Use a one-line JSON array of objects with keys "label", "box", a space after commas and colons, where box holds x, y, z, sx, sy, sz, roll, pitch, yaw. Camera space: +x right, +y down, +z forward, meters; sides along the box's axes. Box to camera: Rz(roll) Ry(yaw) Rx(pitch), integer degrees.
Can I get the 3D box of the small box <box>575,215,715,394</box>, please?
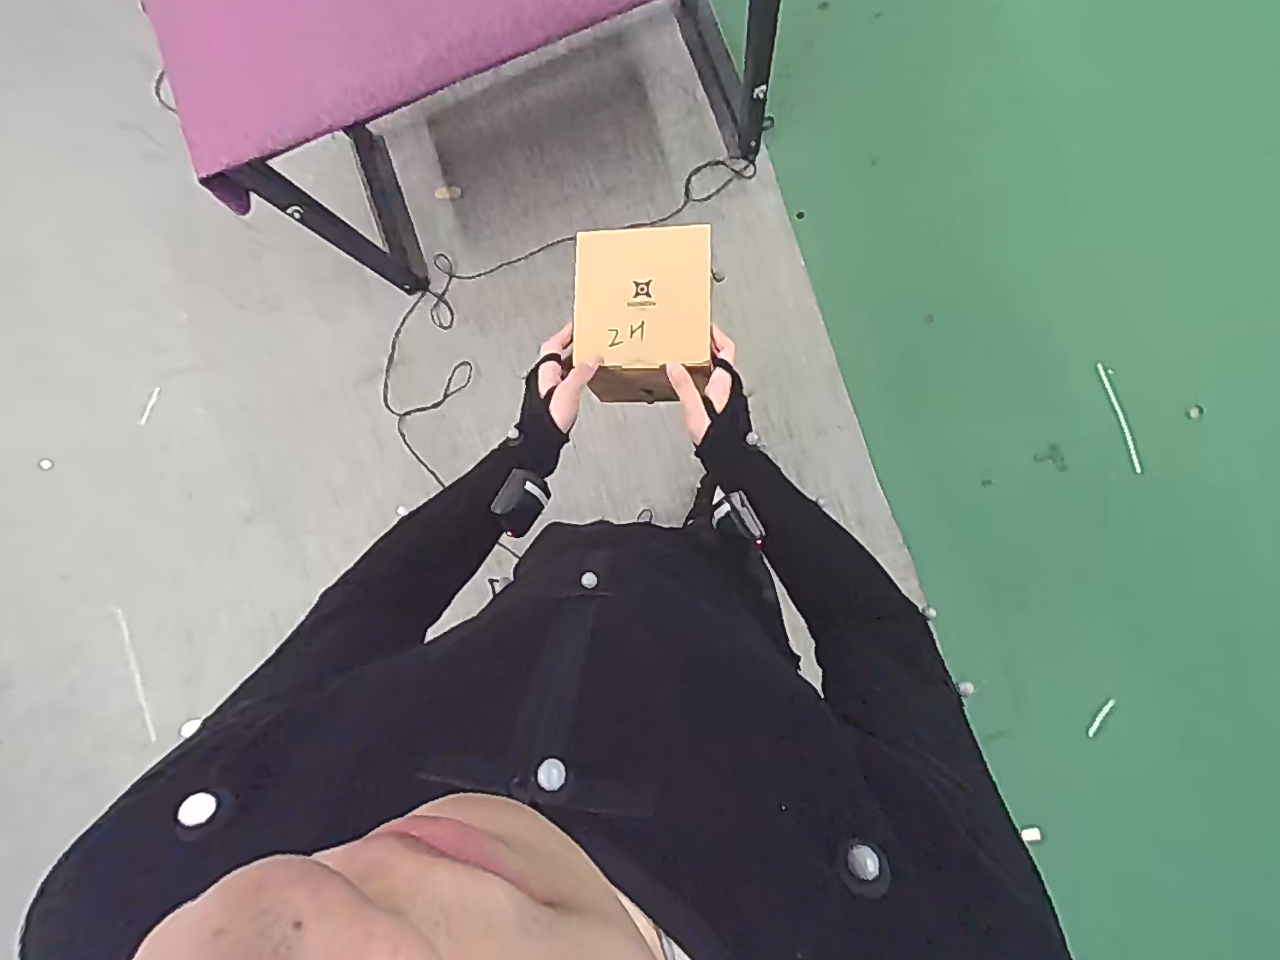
[{"label": "small box", "box": [0.015, -0.221, 0.720, 0.168, 0.176, 0.179, 0, 85, 8]}]
